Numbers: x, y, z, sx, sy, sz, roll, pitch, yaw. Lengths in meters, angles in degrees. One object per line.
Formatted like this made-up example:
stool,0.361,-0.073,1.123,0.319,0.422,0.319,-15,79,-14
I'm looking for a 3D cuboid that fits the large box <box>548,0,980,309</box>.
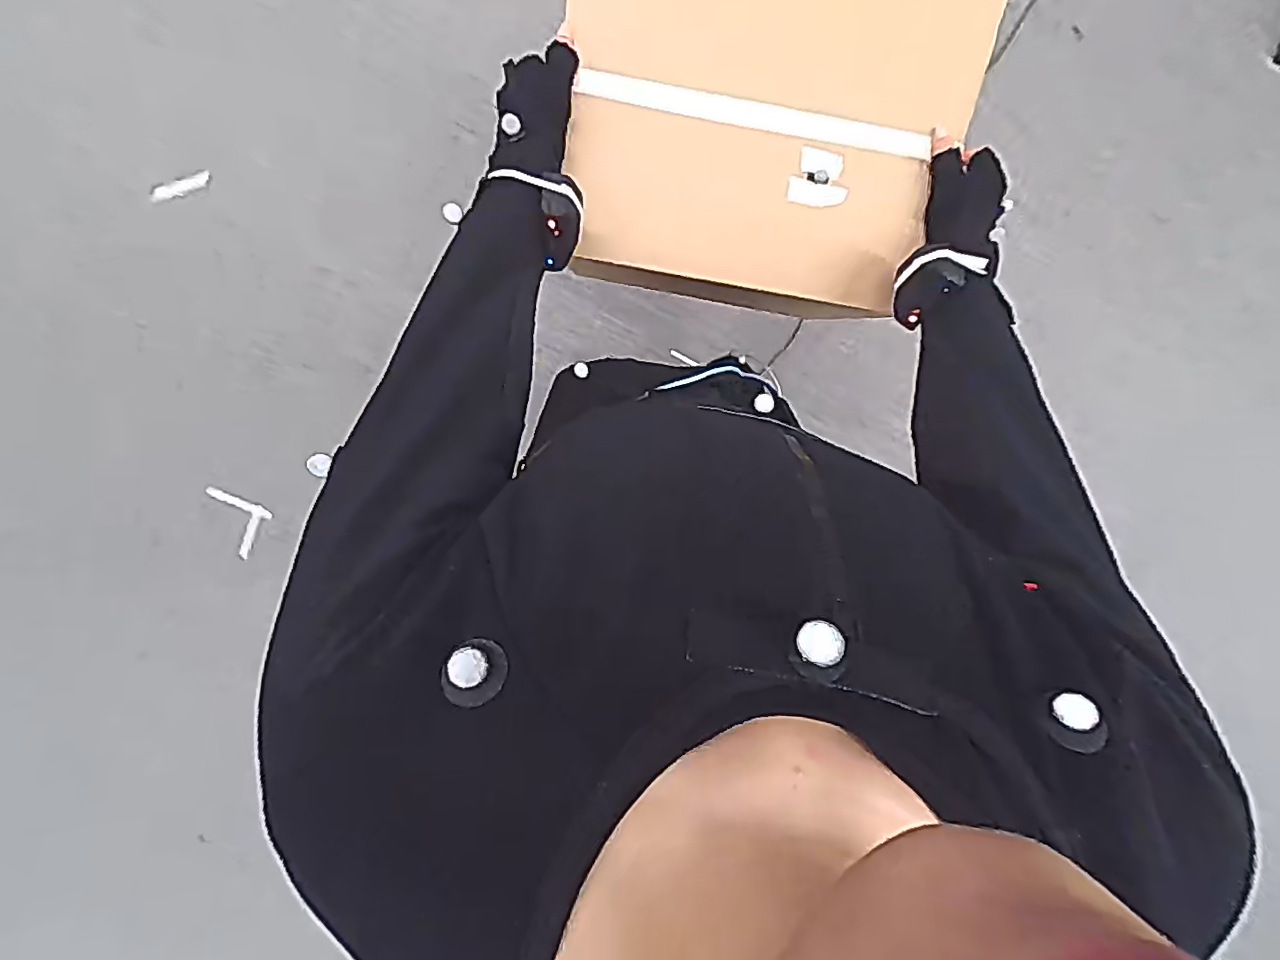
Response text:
large box,0.111,-0.407,0.693,0.408,0.320,0.320,8,107,-4
